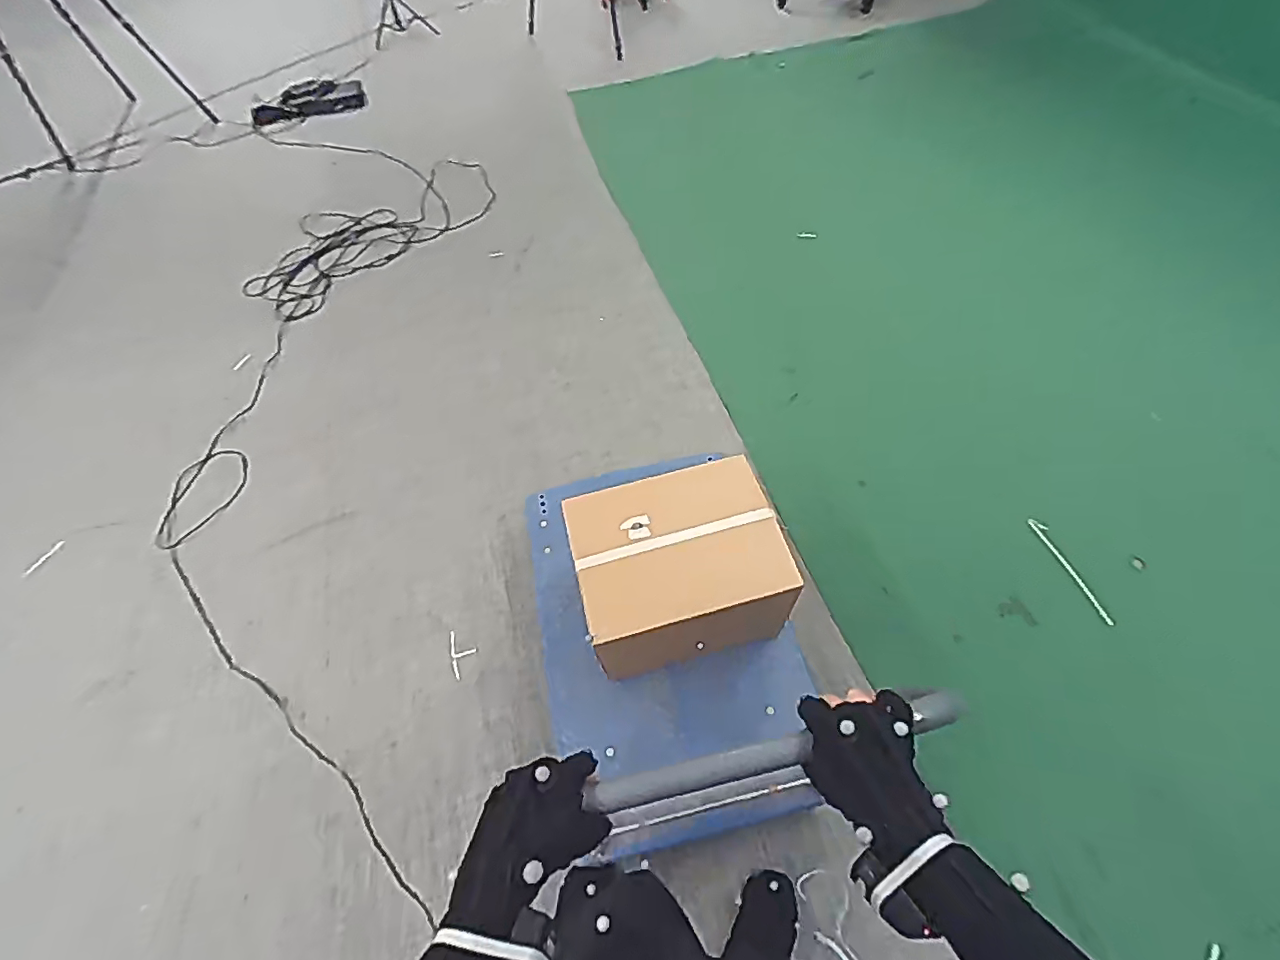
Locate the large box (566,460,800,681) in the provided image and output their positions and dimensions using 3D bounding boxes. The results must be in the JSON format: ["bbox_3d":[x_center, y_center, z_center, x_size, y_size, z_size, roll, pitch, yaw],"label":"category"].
[{"bbox_3d":[0.086,0.211,1.202,0.408,0.320,0.320,-16,58,-4],"label":"large box"}]
